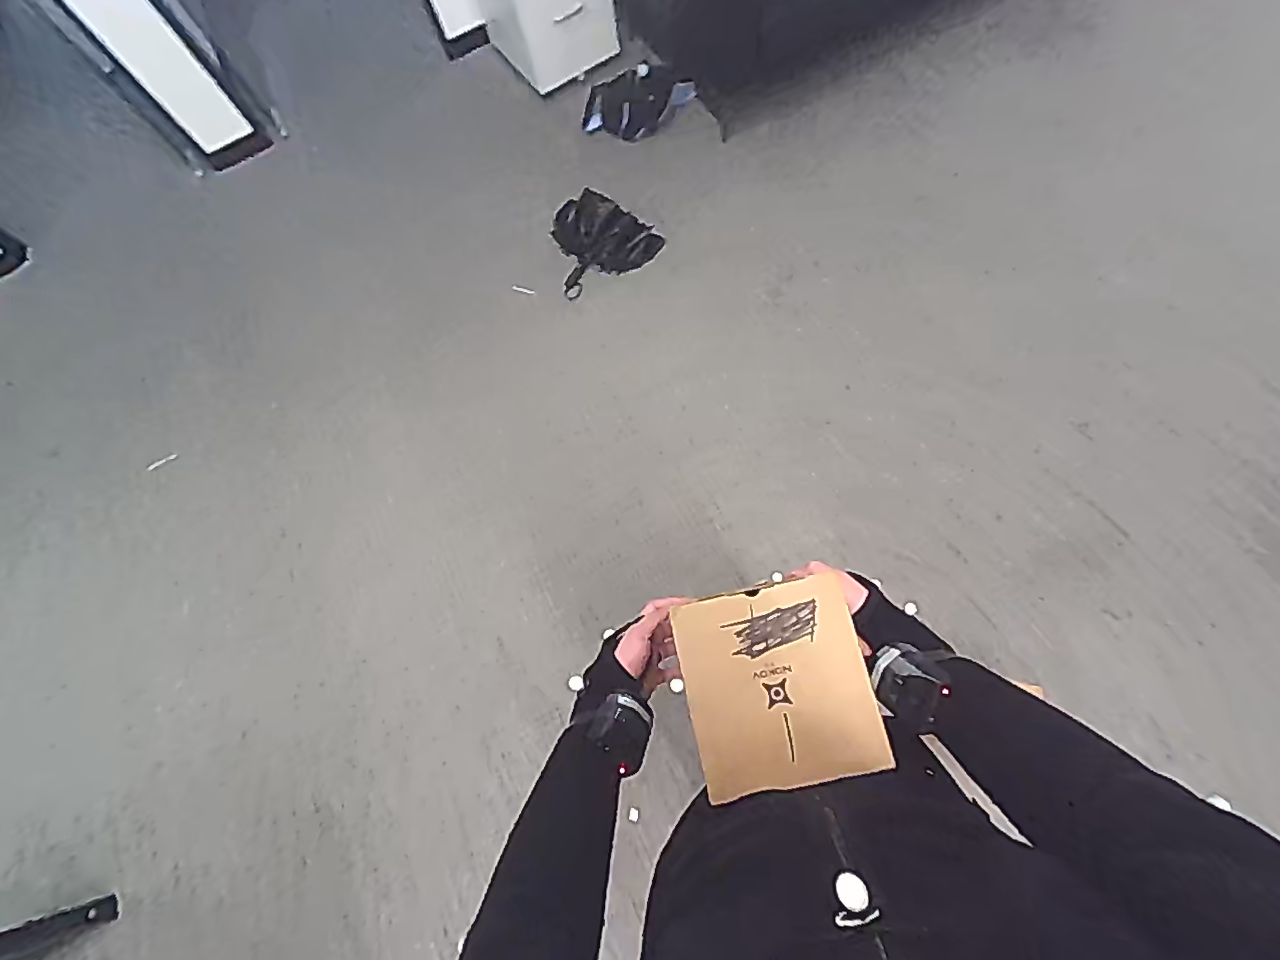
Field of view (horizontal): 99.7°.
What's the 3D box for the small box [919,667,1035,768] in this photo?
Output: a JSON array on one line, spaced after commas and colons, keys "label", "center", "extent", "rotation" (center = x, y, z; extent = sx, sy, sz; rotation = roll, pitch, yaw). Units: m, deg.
[{"label": "small box", "center": [0.756, 0.534, 1.226], "extent": [0.179, 0.176, 0.168], "rotation": [12, 70, 12]}]
